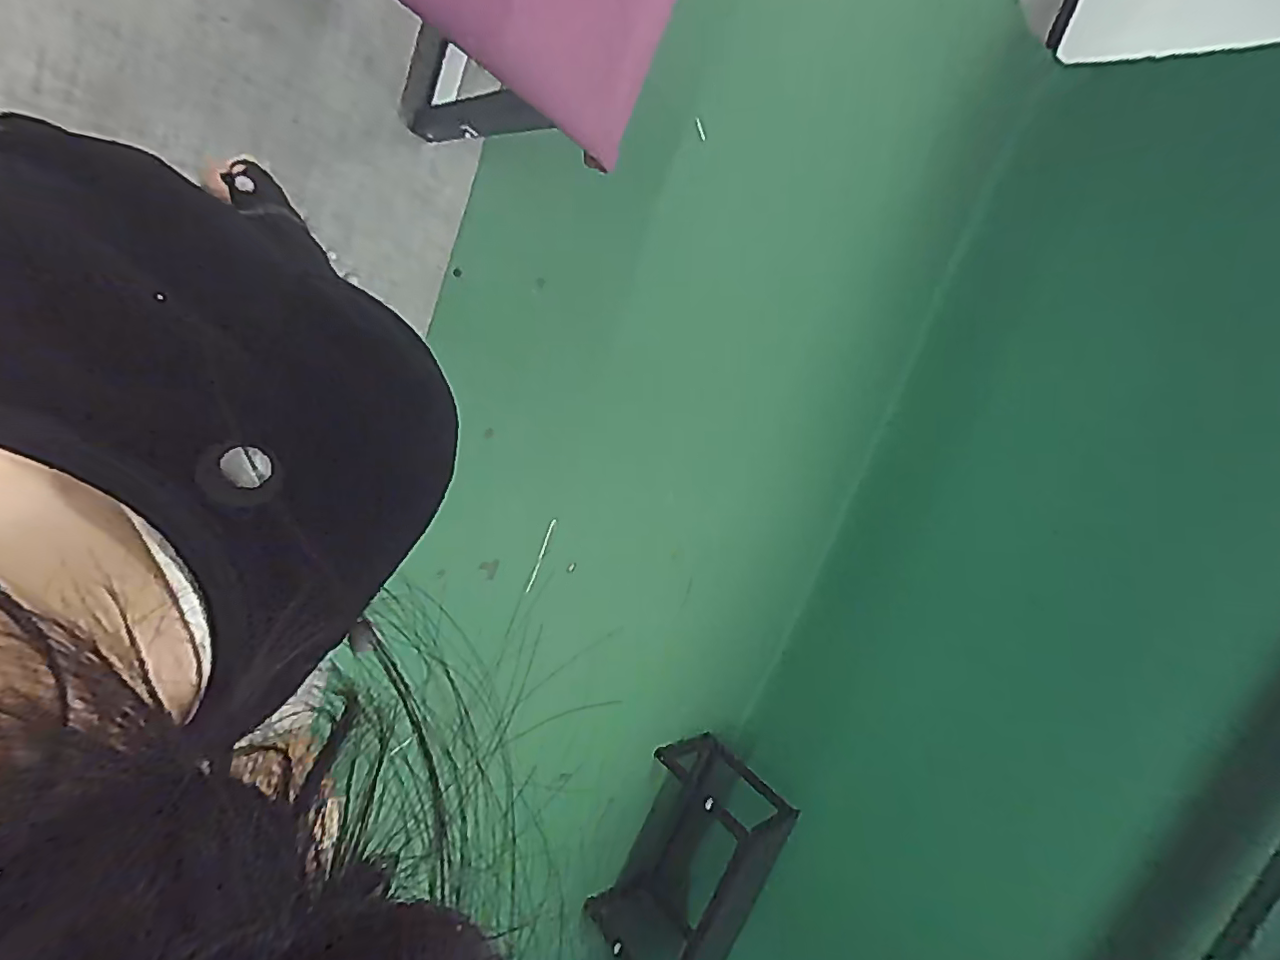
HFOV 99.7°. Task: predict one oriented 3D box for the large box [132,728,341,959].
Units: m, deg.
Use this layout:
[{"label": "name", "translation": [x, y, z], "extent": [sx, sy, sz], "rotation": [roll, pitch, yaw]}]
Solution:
[{"label": "large box", "translation": [-1.094, 0.975, 1.487], "extent": [0.408, 0.320, 0.320], "rotation": [-9, 118, -44]}]
